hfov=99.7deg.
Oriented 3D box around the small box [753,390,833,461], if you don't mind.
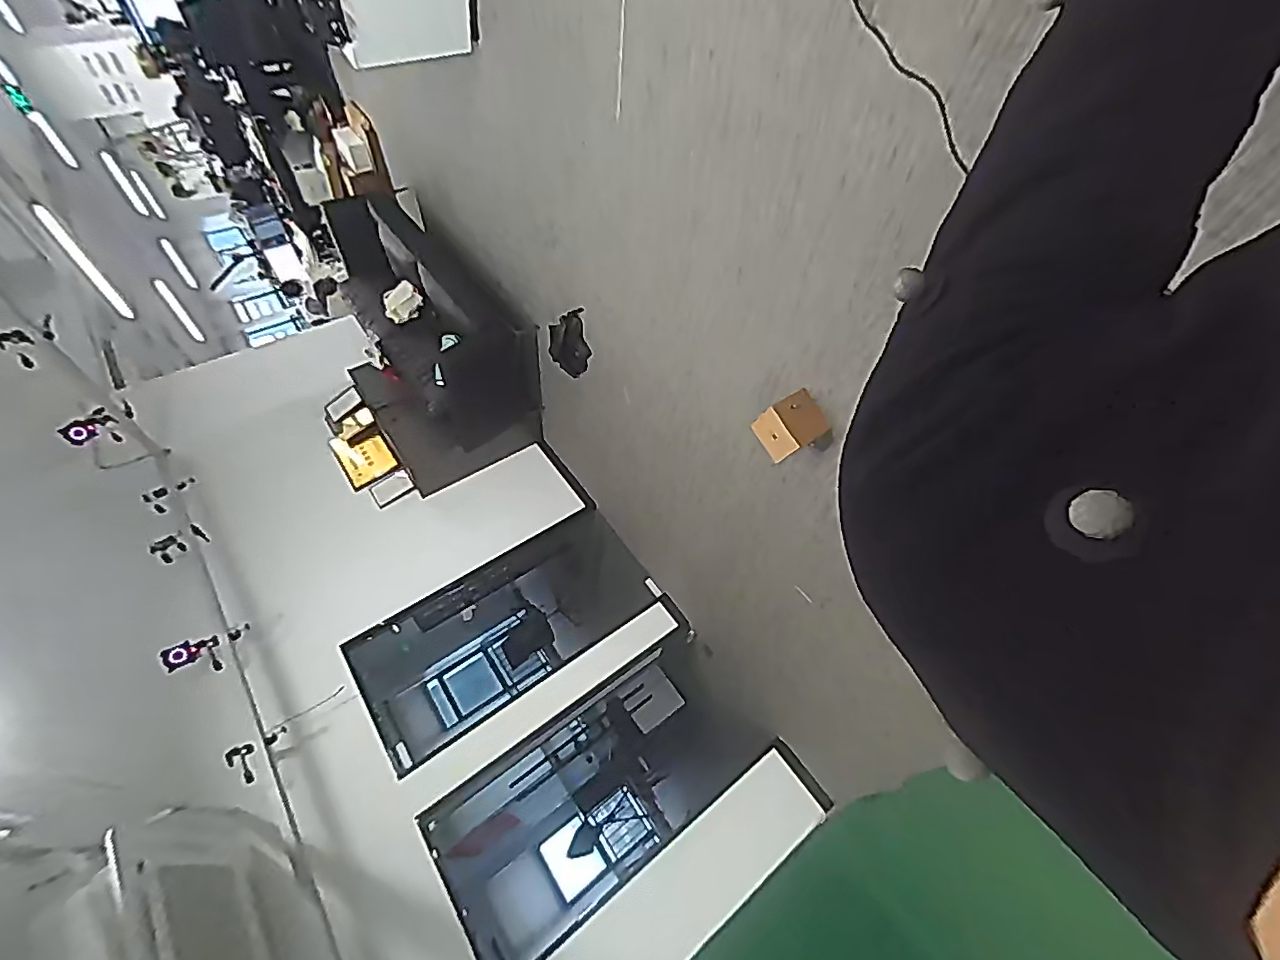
[{"bbox_3d":[0.546,-0.200,1.929,0.179,0.176,0.168,56,157,8],"label":"small box"}]
